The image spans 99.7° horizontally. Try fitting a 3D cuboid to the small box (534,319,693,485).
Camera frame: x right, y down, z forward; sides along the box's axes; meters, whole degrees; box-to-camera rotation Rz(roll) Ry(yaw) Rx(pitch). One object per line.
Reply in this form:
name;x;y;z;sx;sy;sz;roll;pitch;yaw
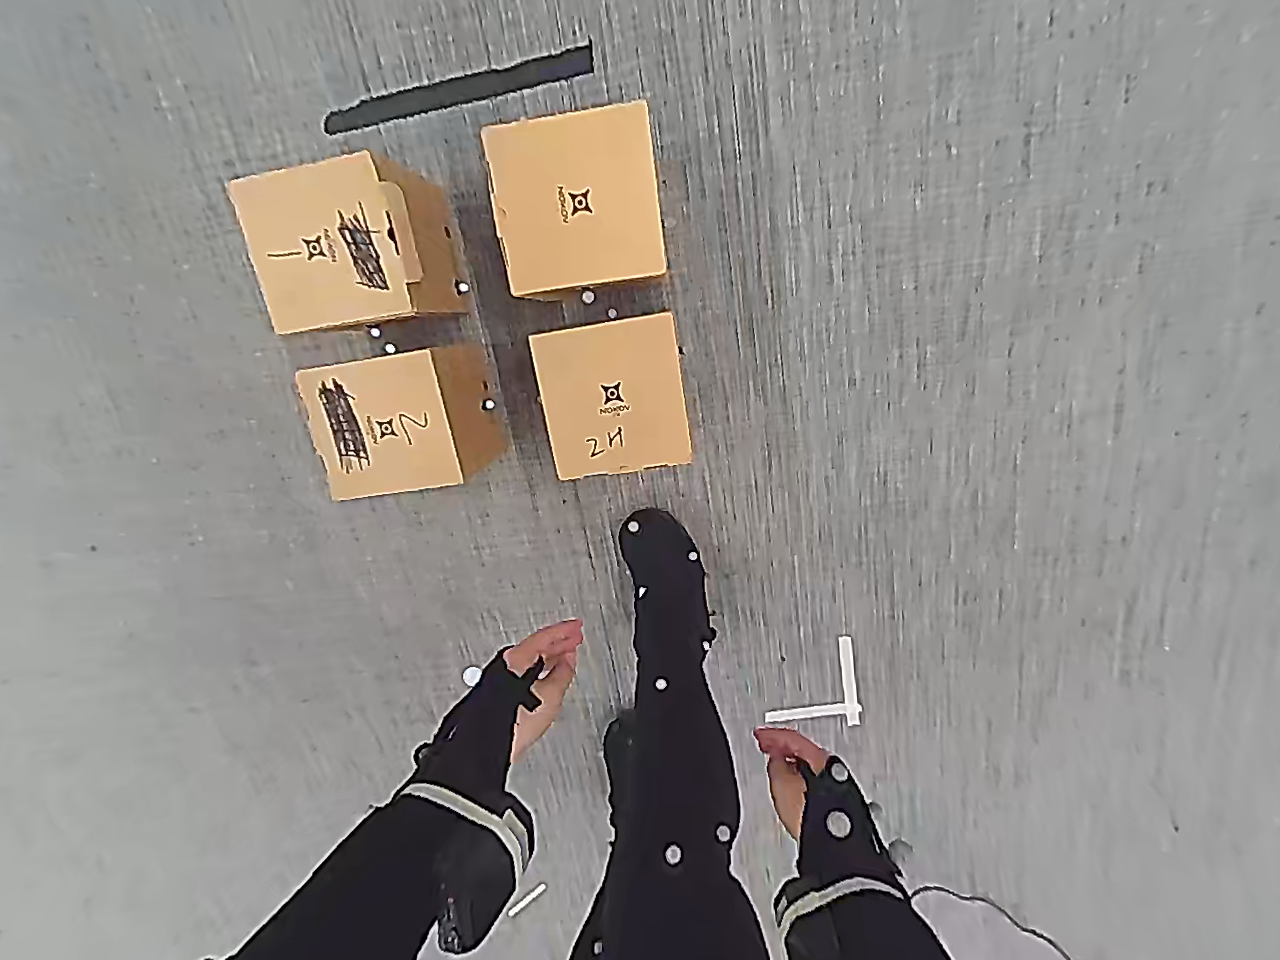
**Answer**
small box;-0.026;-0.109;0.709;0.168;0.176;0.179;-8;106;7
